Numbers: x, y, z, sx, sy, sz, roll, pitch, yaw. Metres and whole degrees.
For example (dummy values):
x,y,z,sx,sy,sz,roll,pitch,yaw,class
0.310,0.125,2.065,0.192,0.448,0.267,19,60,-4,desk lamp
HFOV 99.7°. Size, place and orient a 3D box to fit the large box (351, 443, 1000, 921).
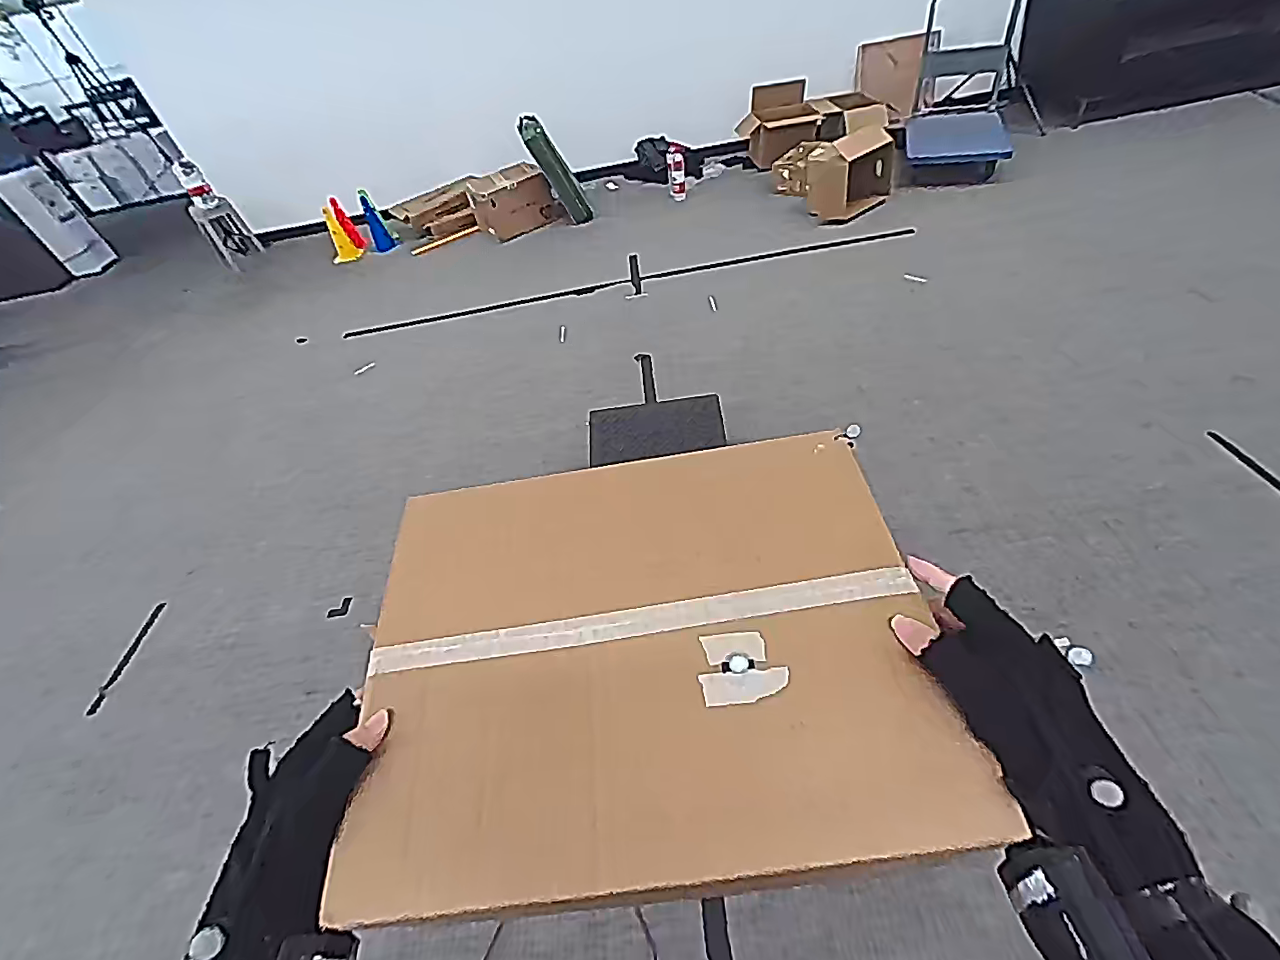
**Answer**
x,y,z,sx,sy,sz,roll,pitch,yaw,class
0.020,0.207,0.529,0.408,0.320,0.320,-9,51,2,large box
